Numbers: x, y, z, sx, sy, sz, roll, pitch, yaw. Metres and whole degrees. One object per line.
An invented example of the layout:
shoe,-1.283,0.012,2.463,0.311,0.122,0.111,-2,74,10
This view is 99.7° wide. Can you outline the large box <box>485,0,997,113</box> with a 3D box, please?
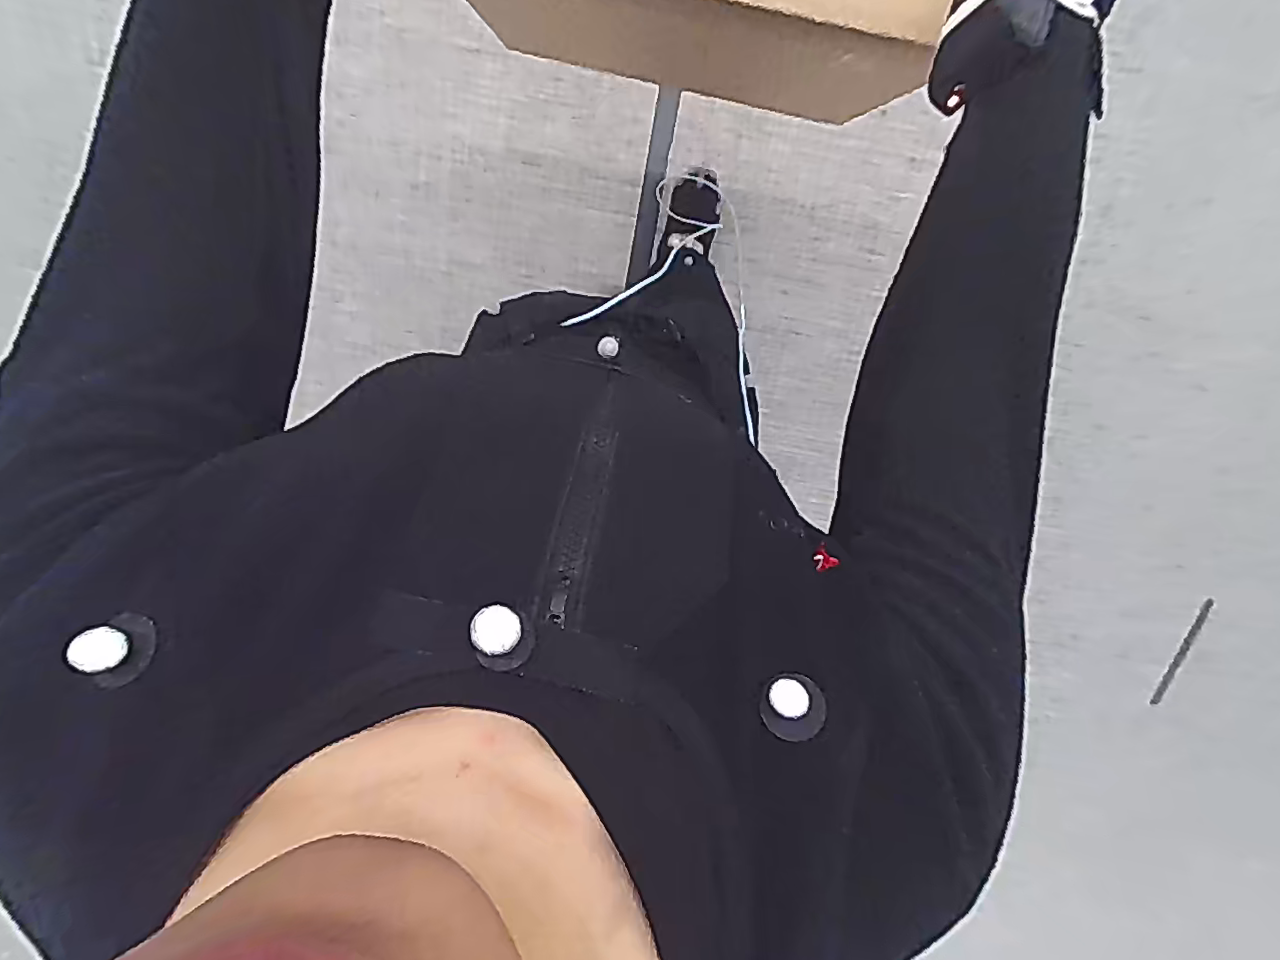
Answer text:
large box,0.073,-0.538,0.435,0.408,0.320,0.320,10,117,-4
